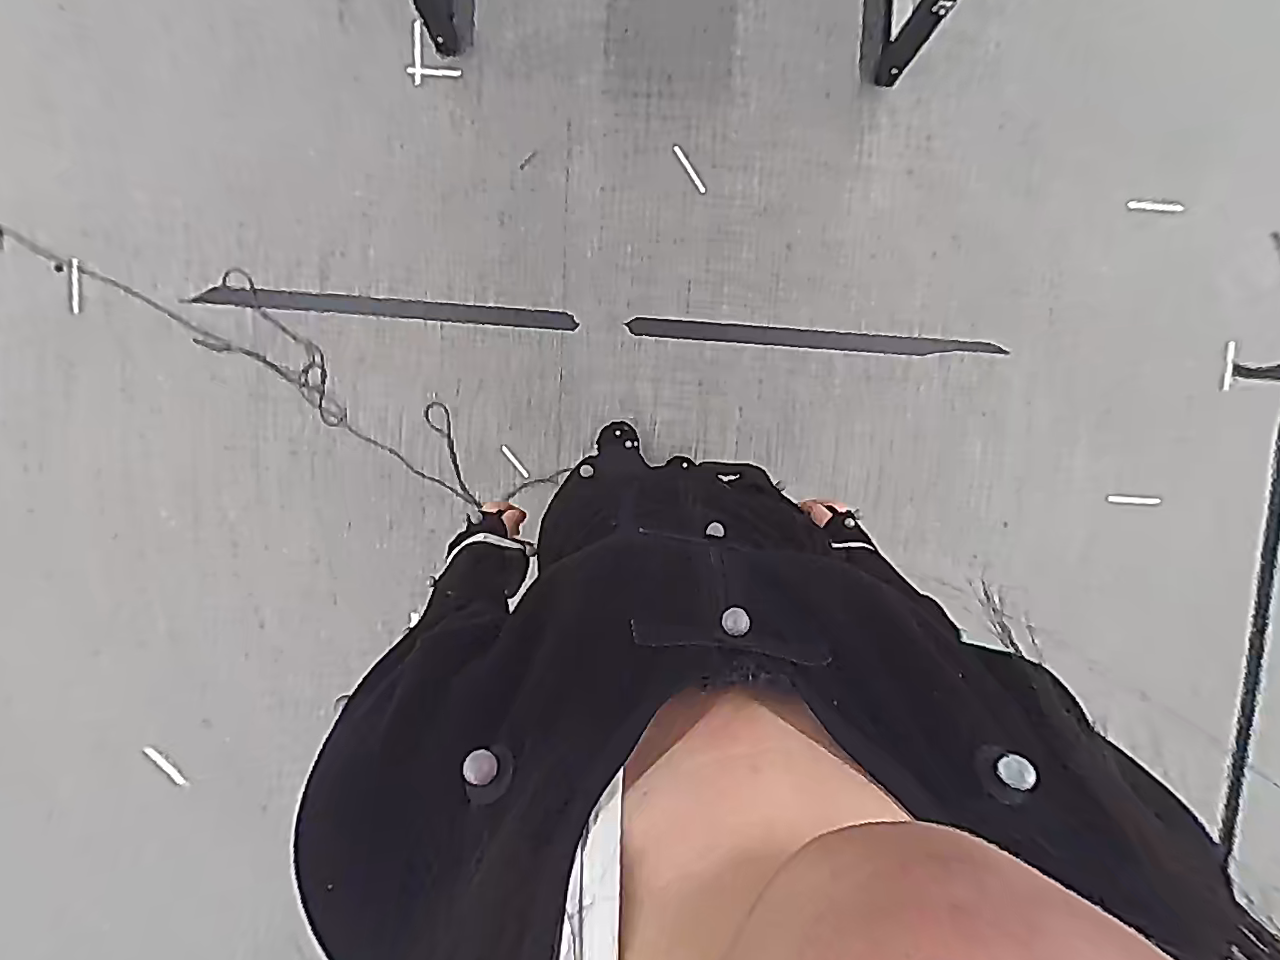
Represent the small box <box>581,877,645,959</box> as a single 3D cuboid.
[{"bbox_3d":[-0.074,1.246,1.504,0.168,0.176,0.179,-4,95,-2],"label":"small box"}]
